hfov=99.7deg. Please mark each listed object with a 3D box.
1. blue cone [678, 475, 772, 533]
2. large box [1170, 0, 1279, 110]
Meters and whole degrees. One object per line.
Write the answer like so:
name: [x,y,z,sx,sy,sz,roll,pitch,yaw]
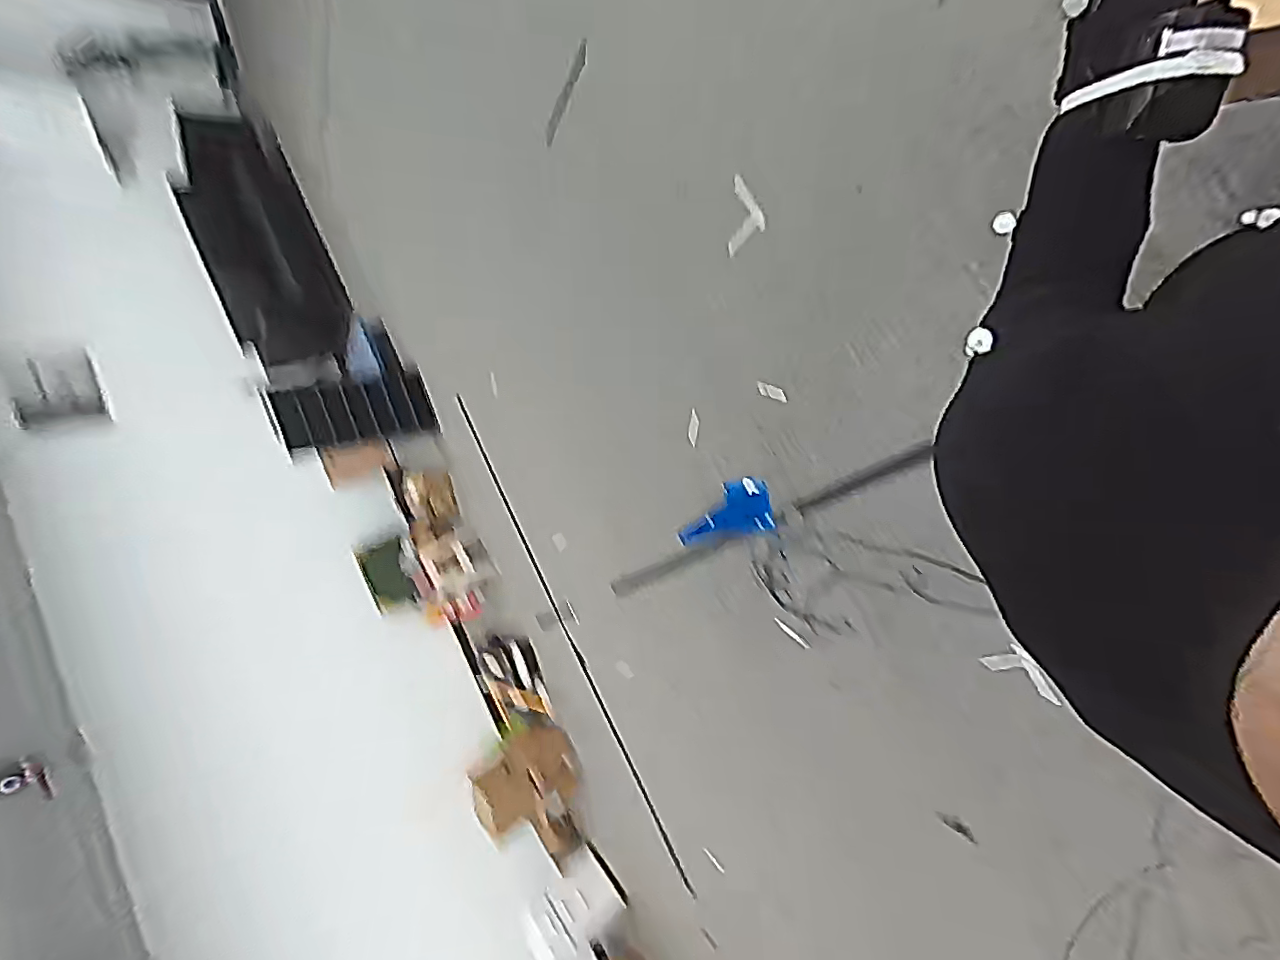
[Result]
blue cone: [0.284,0.114,1.914,0.192,0.380,0.193,-1,104,51]
large box: [0.587,-0.437,0.277,0.408,0.320,0.320,17,120,41]
